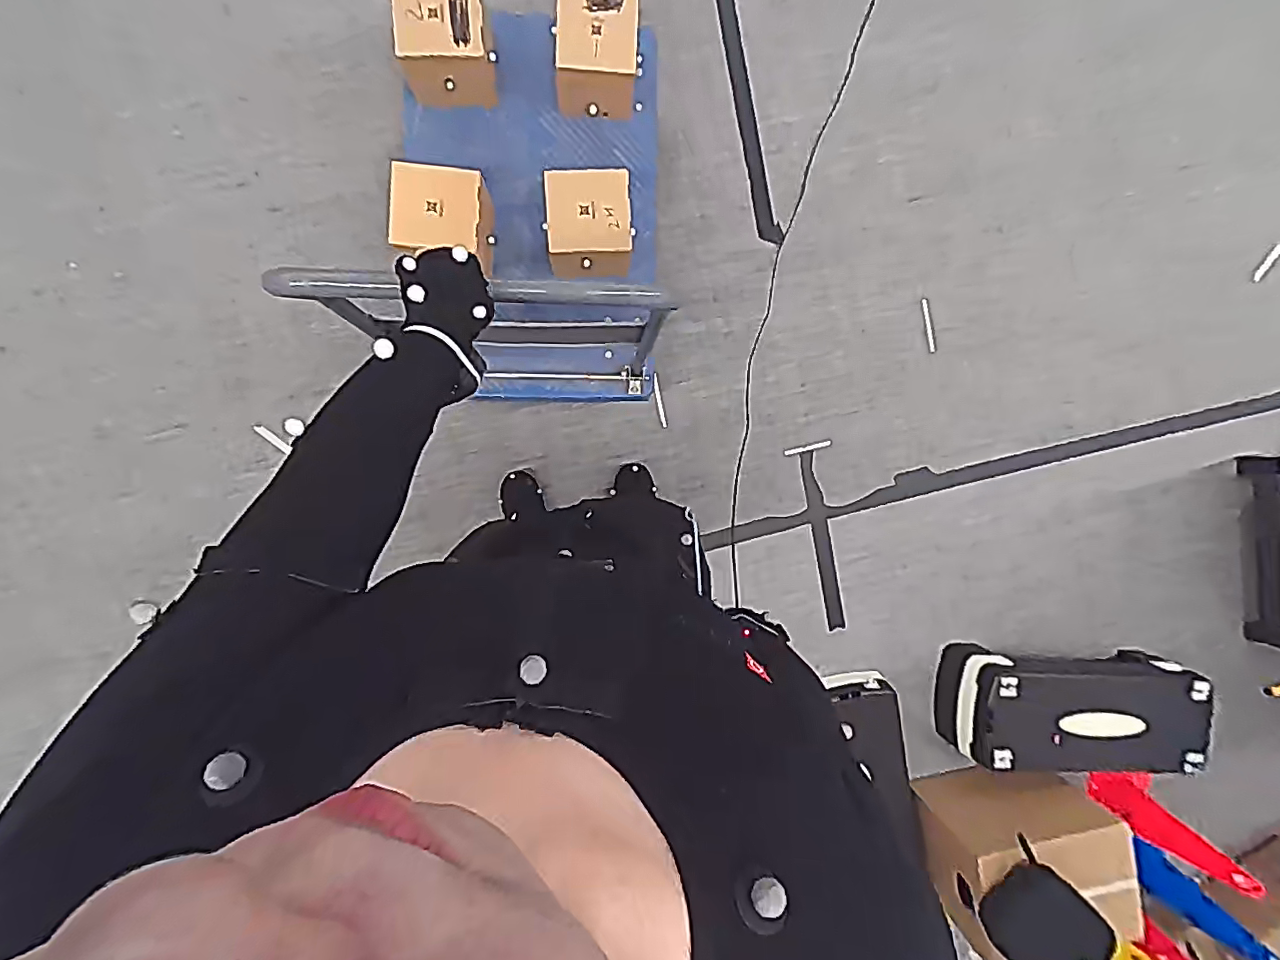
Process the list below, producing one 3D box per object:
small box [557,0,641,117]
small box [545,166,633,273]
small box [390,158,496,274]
[{"bbox_3d":[-0.089,-0.929,1.166,0.168,0.176,0.179,2,95,-5],"label":"small box"},{"bbox_3d":[-0.108,-0.563,1.187,0.179,0.176,0.168,-3,94,-4],"label":"small box"},{"bbox_3d":[-0.416,-0.558,1.164,0.179,0.176,0.168,3,93,-6],"label":"small box"}]
